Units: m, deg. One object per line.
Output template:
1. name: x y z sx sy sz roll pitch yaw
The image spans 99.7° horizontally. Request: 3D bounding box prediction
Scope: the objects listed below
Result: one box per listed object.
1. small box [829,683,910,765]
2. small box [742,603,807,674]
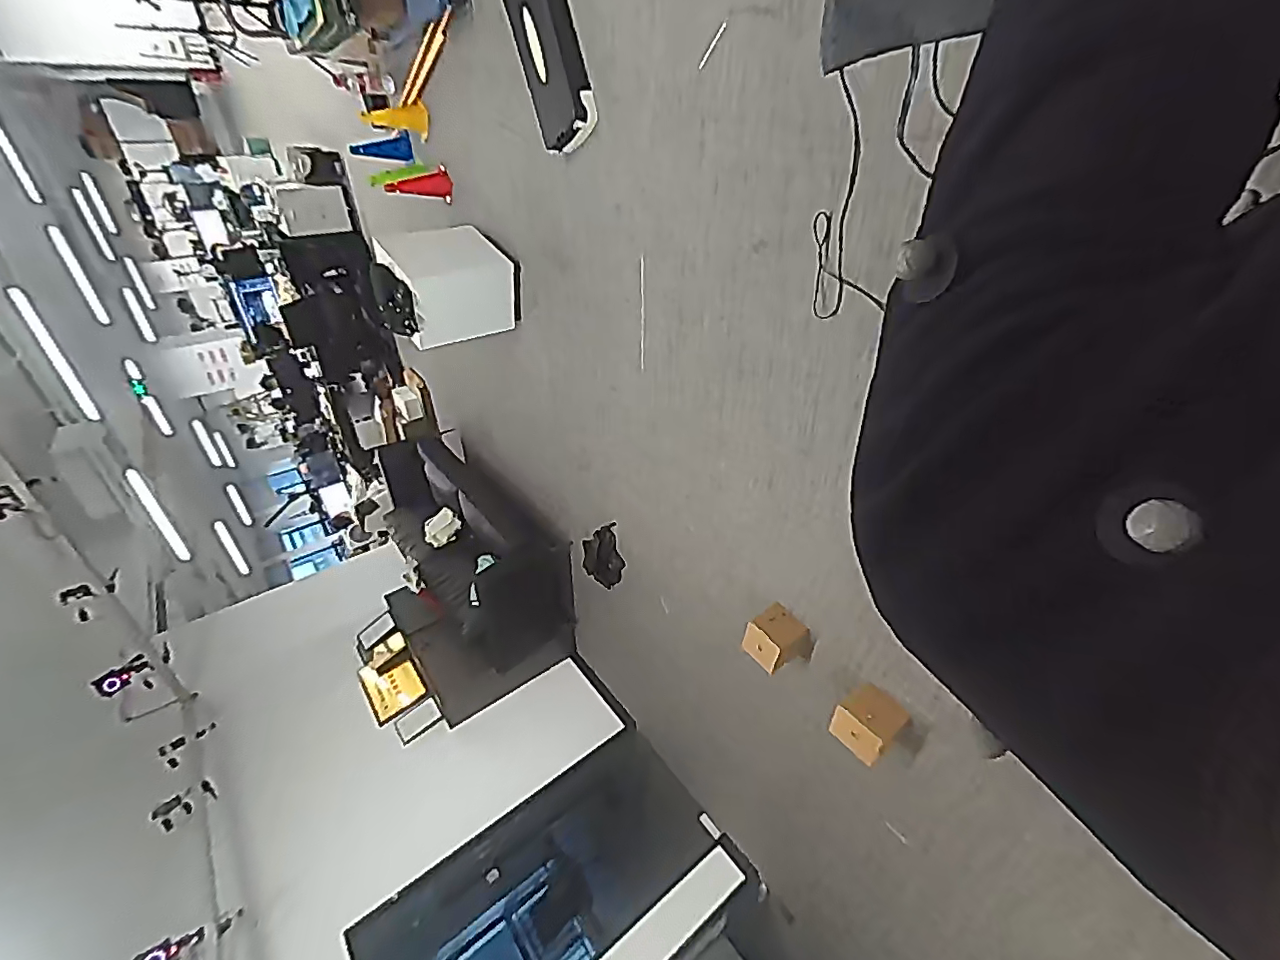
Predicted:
1. small box: 0.800 0.841 1.887 0.179 0.176 0.168 37 138 40
2. small box: 0.536 0.623 2.150 0.168 0.176 0.179 42 142 38
